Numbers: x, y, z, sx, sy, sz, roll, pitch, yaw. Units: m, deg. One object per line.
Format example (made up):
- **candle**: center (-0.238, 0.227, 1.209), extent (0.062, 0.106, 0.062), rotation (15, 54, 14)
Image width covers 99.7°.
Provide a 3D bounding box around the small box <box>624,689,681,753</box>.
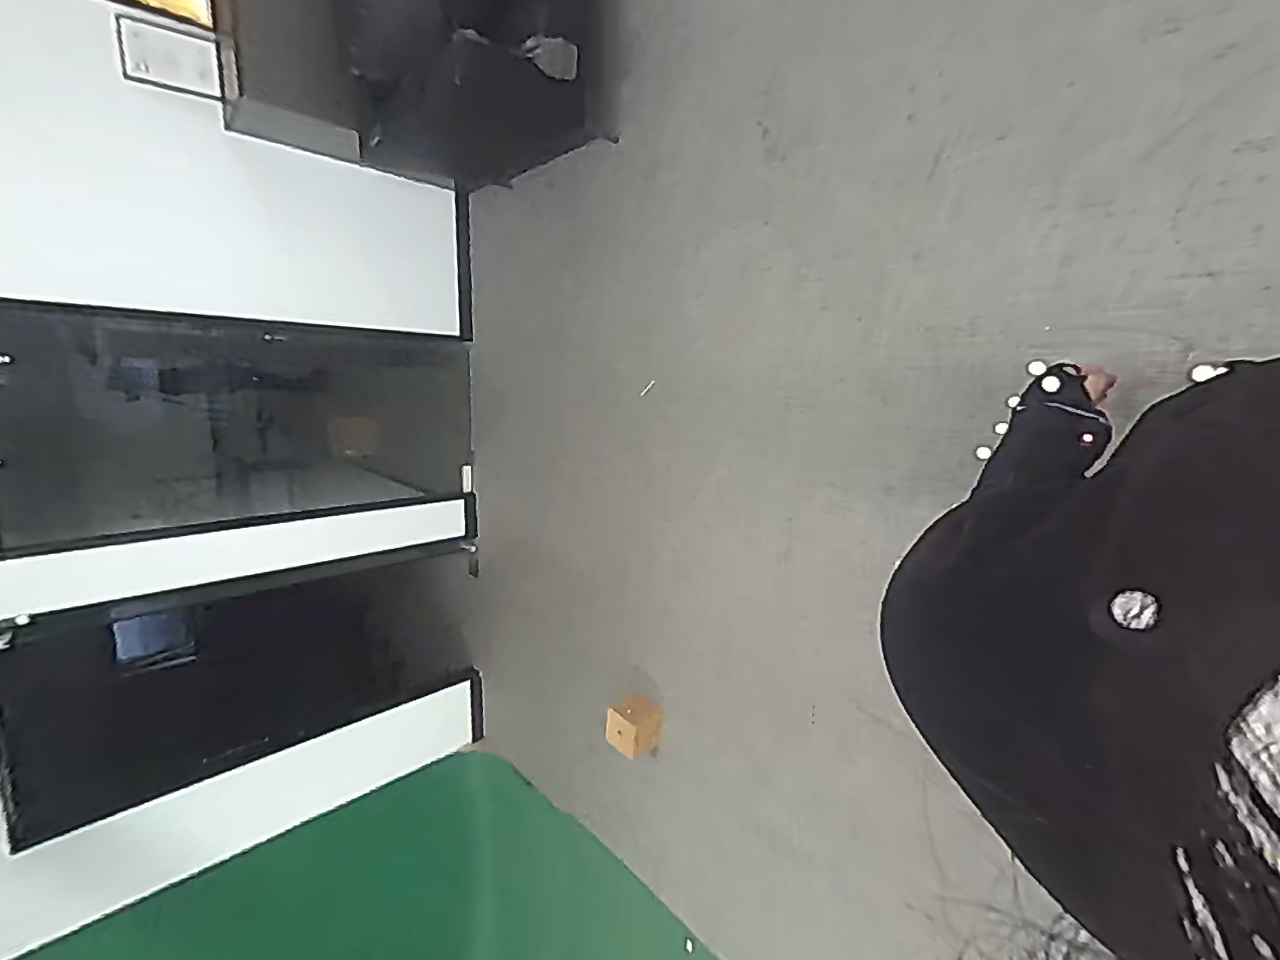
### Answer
- **small box**: center (0.052, 1.033, 2.340), extent (0.179, 0.176, 0.168), rotation (16, 109, 44)
